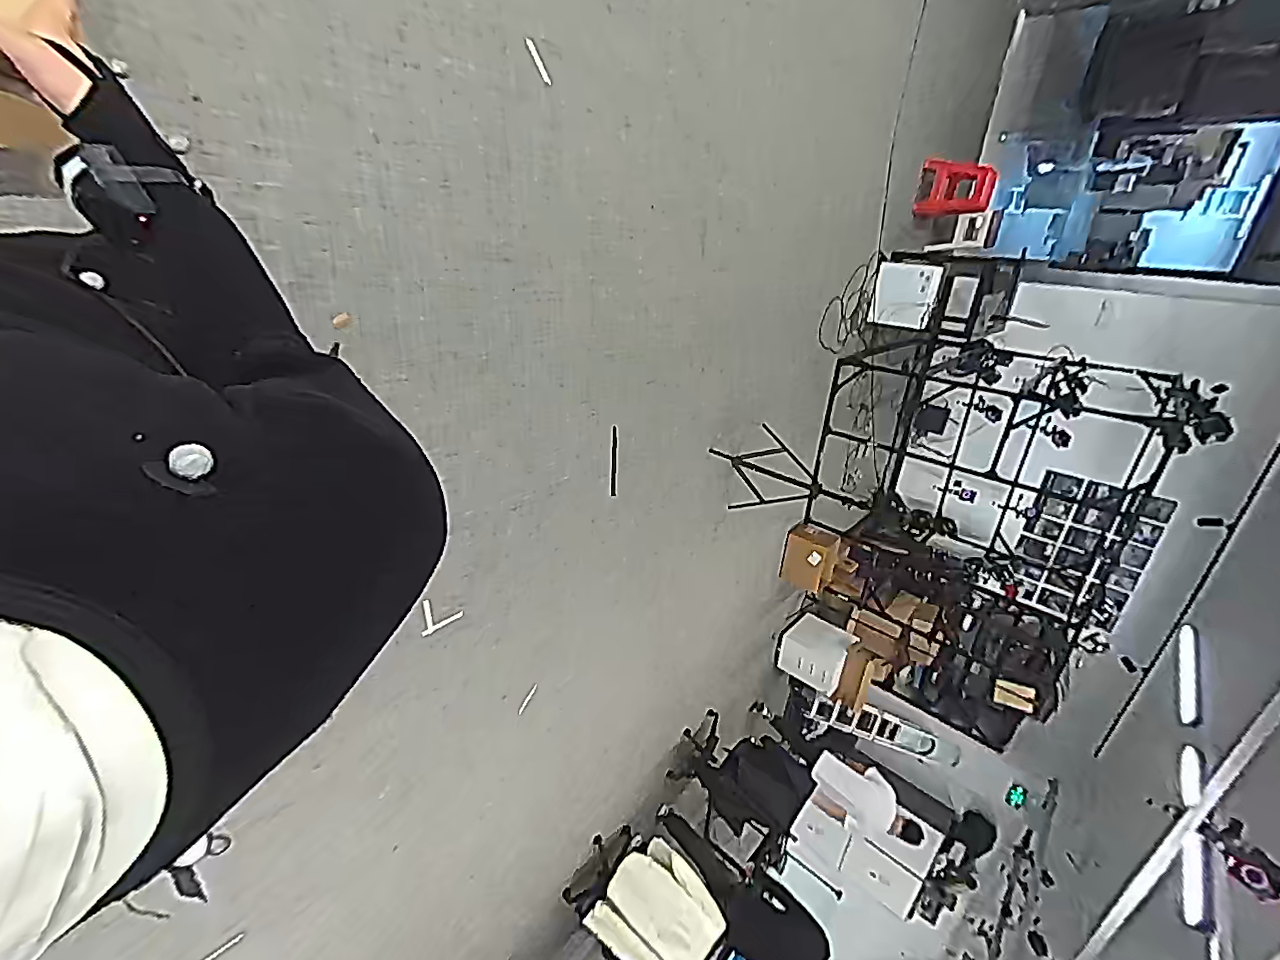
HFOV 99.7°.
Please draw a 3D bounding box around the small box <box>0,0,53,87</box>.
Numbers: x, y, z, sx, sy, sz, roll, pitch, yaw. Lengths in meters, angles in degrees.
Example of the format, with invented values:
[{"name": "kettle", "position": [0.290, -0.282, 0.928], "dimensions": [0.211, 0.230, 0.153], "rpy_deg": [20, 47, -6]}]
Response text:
[{"name": "small box", "position": [-0.560, -0.425, 0.388], "dimensions": [0.168, 0.176, 0.179], "rpy_deg": [-5, 110, -56]}]
